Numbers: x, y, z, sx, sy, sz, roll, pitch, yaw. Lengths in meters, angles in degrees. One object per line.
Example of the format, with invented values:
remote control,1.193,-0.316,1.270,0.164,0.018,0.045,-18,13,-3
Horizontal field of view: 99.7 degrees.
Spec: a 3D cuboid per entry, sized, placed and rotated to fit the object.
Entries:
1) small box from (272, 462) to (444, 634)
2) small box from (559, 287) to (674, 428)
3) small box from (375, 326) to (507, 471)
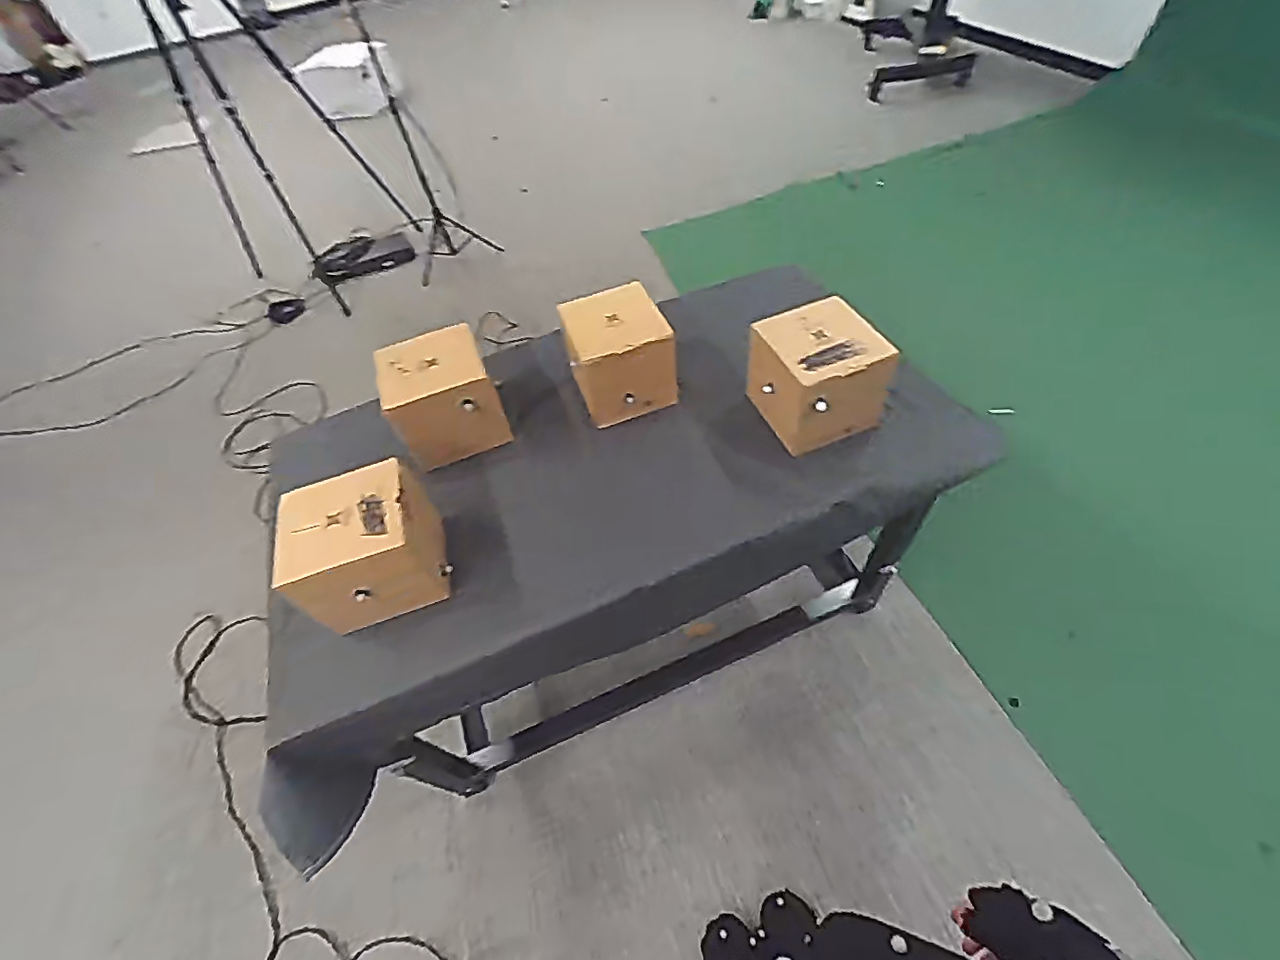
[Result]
small box,-0.410,0.106,0.817,0.179,0.176,0.168,-19,53,-7
small box,-0.042,-0.229,1.025,0.168,0.176,0.179,-20,55,-8
small box,-0.357,-0.146,0.996,0.179,0.176,0.168,-21,54,-8
